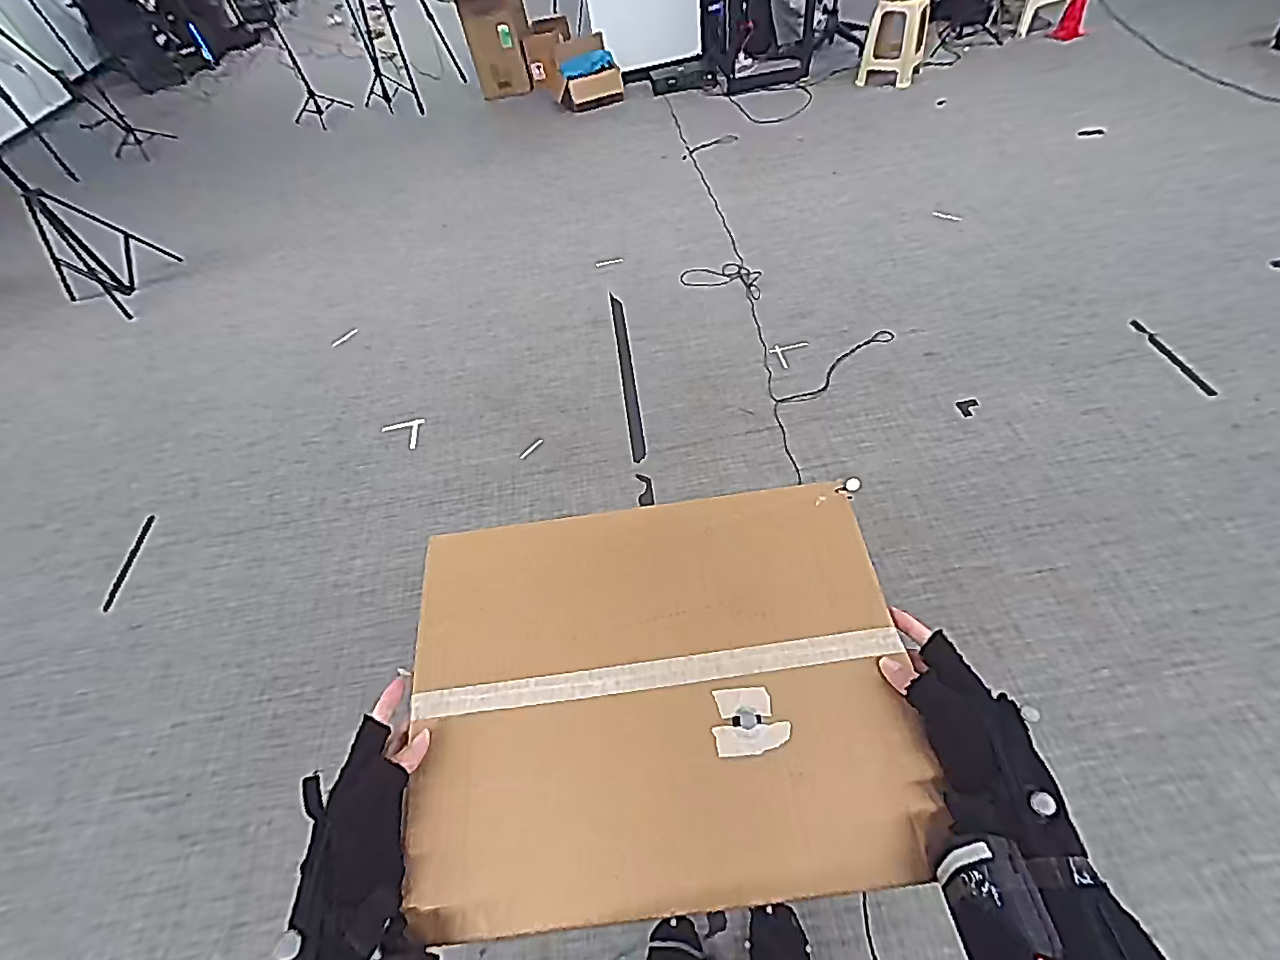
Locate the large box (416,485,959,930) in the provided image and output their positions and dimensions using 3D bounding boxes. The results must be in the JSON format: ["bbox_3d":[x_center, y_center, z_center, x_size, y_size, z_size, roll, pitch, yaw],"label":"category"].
[{"bbox_3d":[0.025,0.238,0.588,0.408,0.320,0.320,-8,59,0],"label":"large box"}]
